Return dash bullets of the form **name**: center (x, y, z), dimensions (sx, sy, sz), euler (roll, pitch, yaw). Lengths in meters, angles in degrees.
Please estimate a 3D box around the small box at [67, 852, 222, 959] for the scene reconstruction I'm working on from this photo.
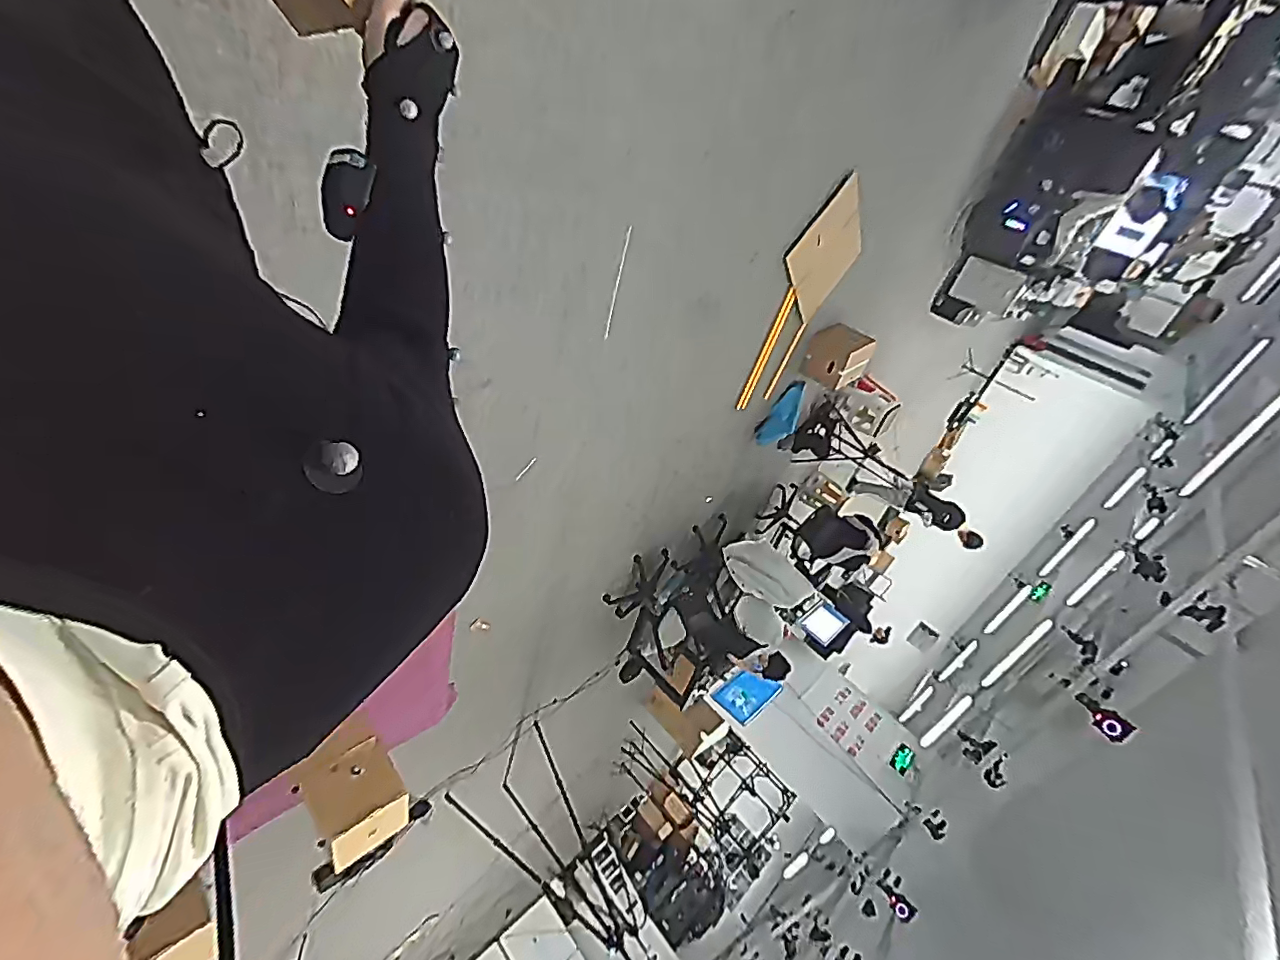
- **small box**: center (-0.909, 0.838, 0.997), dimensions (0.168, 0.176, 0.179), euler (-20, 140, -43)

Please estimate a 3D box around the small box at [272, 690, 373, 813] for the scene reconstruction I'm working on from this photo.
- **small box**: center (-0.774, 0.656, 1.321), dimensions (0.168, 0.176, 0.179), euler (-20, 139, -44)

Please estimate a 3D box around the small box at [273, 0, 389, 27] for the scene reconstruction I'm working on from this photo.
- **small box**: center (-0.297, -0.554, 0.489), dimensions (0.168, 0.176, 0.179), euler (-52, 143, -11)

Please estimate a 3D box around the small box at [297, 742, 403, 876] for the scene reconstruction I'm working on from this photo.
- **small box**: center (-0.664, 0.749, 1.245), dimensions (0.168, 0.176, 0.179), euler (-21, 139, -42)
